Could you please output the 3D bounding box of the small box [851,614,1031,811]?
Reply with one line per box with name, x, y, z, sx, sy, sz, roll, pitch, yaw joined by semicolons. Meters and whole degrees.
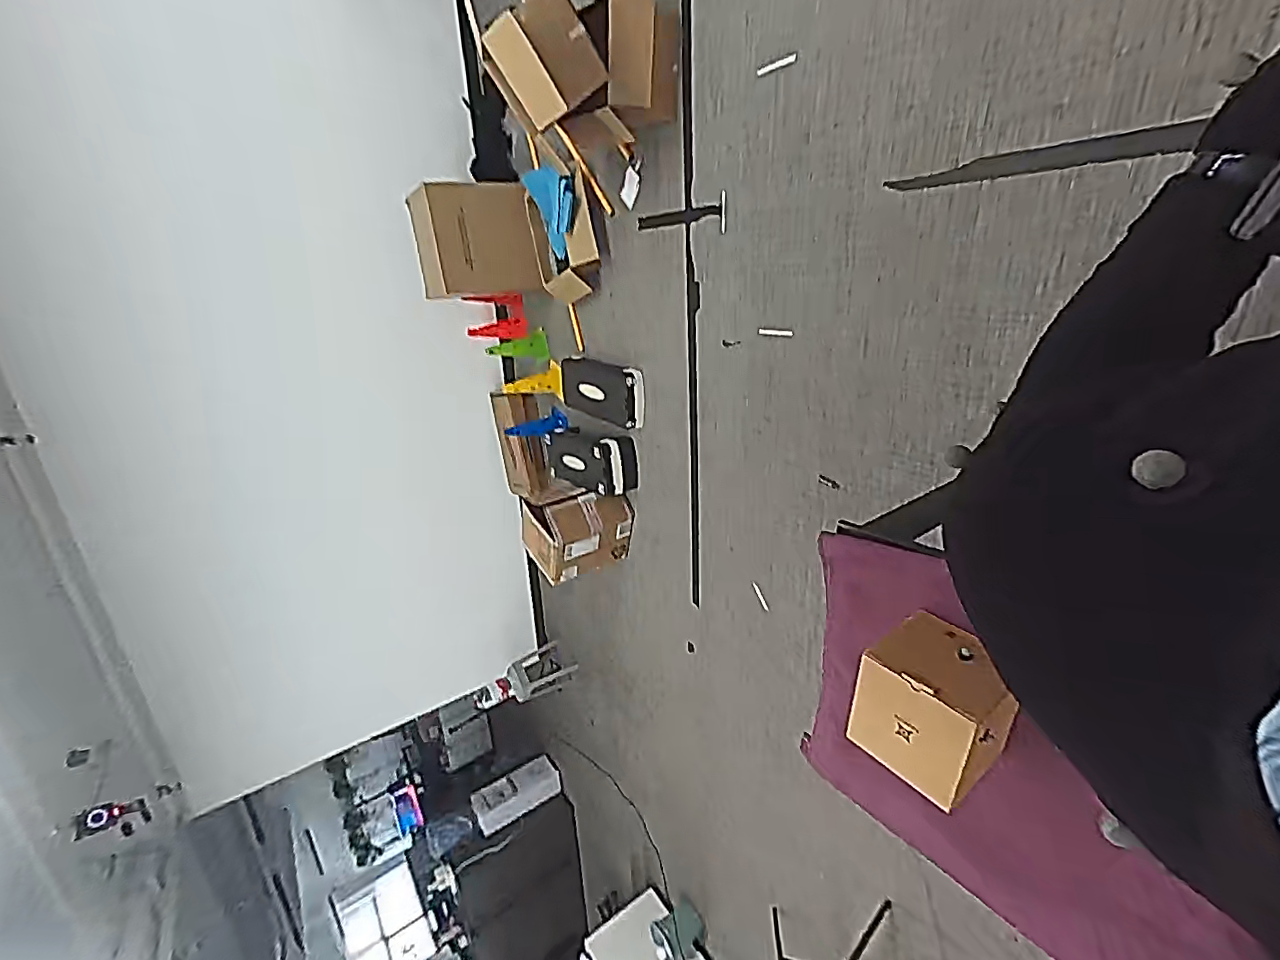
small box;0.448;0.336;0.813;0.168;0.176;0.179;28;127;48
